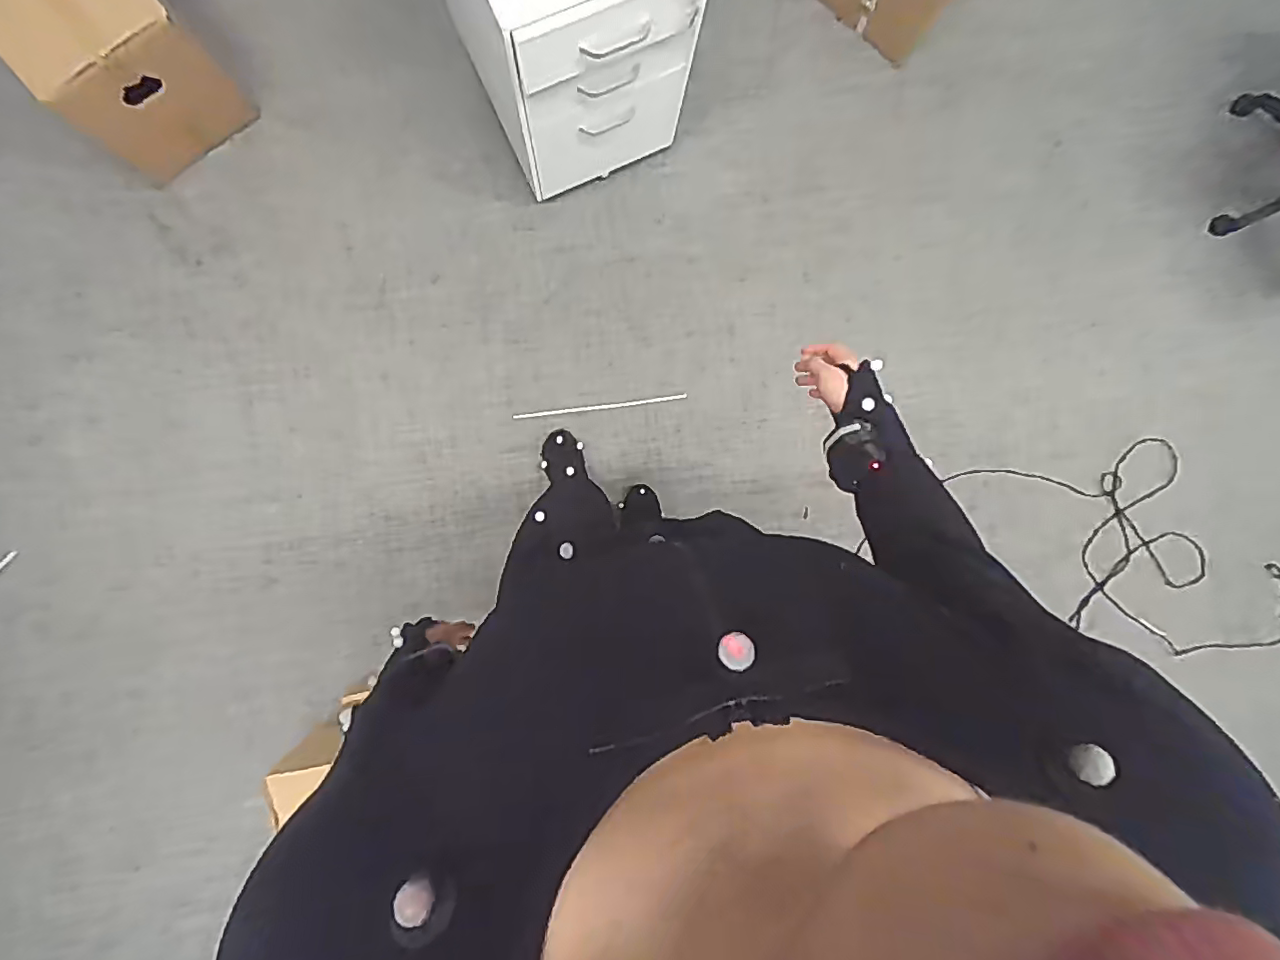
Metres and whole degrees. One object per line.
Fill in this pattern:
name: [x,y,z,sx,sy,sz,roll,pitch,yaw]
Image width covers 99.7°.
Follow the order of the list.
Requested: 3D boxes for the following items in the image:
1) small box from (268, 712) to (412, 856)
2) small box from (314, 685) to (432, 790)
small box: [-0.566,0.573,1.040,0.179,0.176,0.168,-9,92,-4]
small box: [-0.585,0.579,1.203,0.179,0.176,0.168,-9,92,-6]
